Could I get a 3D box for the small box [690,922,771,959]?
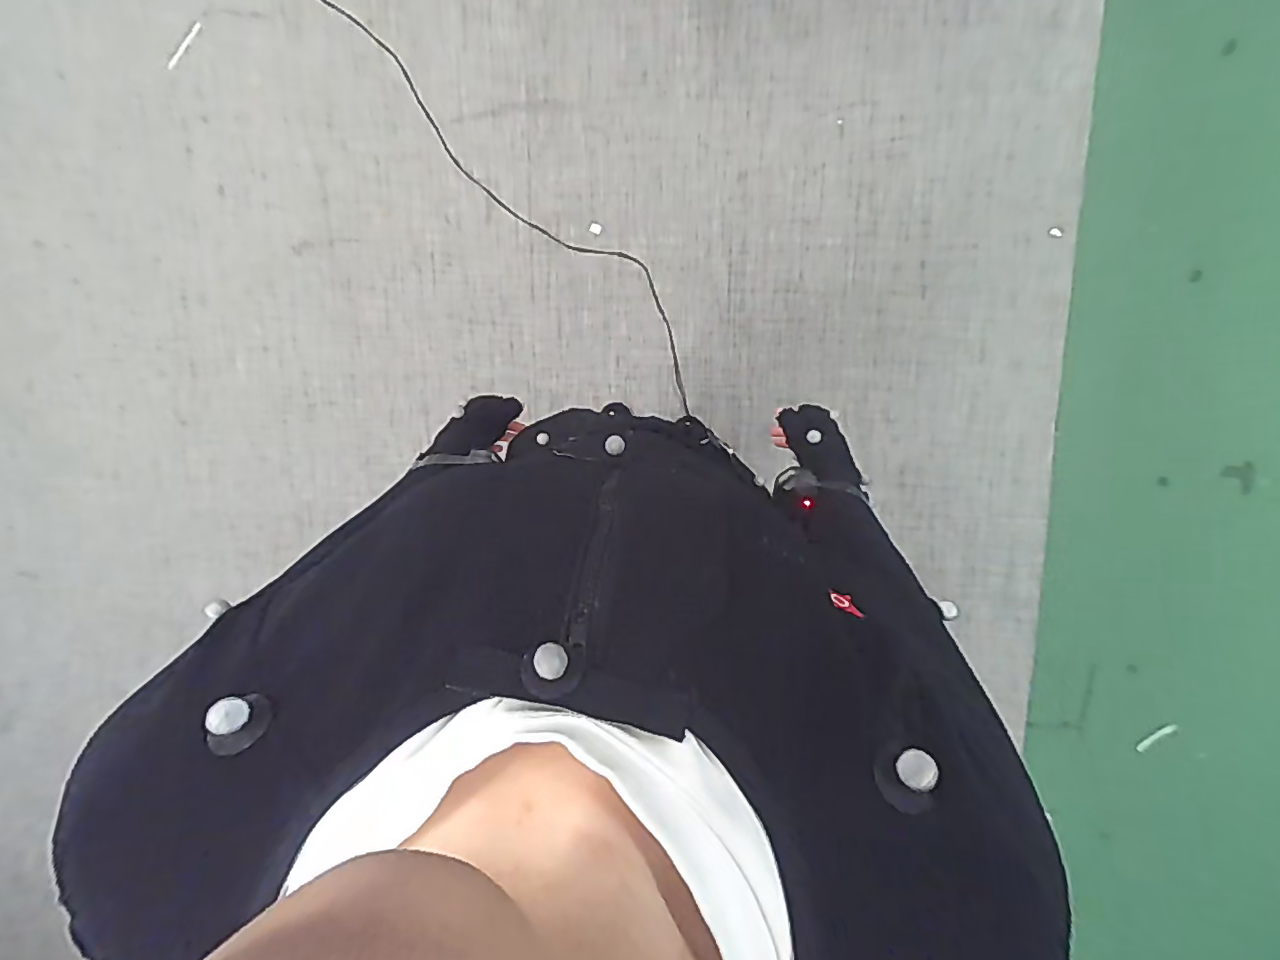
[{"bbox_3d":[0.184,1.073,1.121,0.168,0.176,0.179,7,102,6],"label":"small box"}]
